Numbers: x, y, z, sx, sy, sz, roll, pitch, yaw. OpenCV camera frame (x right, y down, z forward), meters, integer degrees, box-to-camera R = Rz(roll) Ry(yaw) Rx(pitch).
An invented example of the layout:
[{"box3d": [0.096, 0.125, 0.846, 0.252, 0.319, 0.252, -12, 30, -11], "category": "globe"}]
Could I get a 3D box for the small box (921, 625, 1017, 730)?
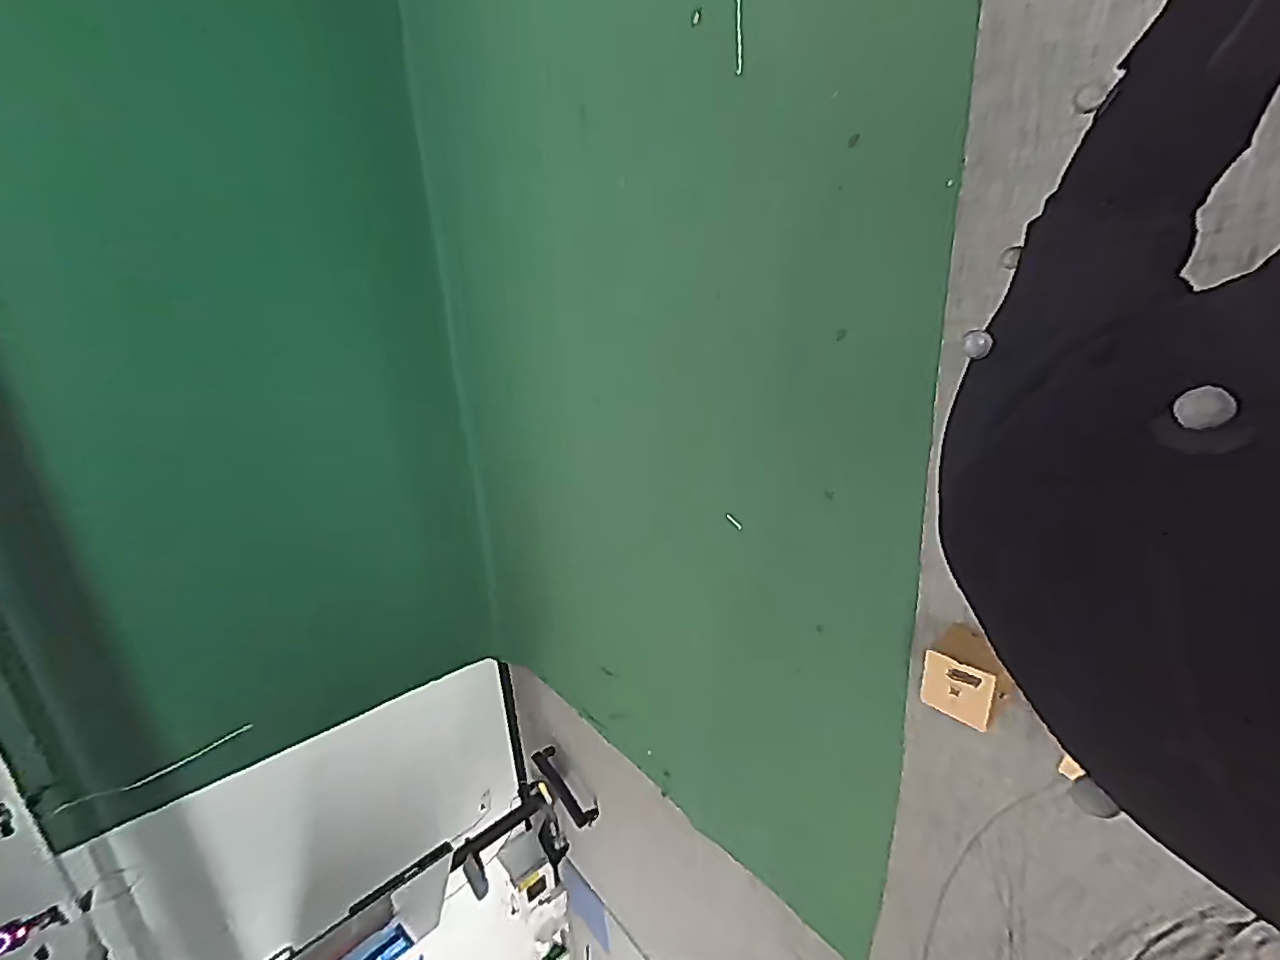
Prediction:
[{"box3d": [0.881, 0.517, 1.445, 0.168, 0.176, 0.179, 18, 118, 47], "category": "small box"}]
